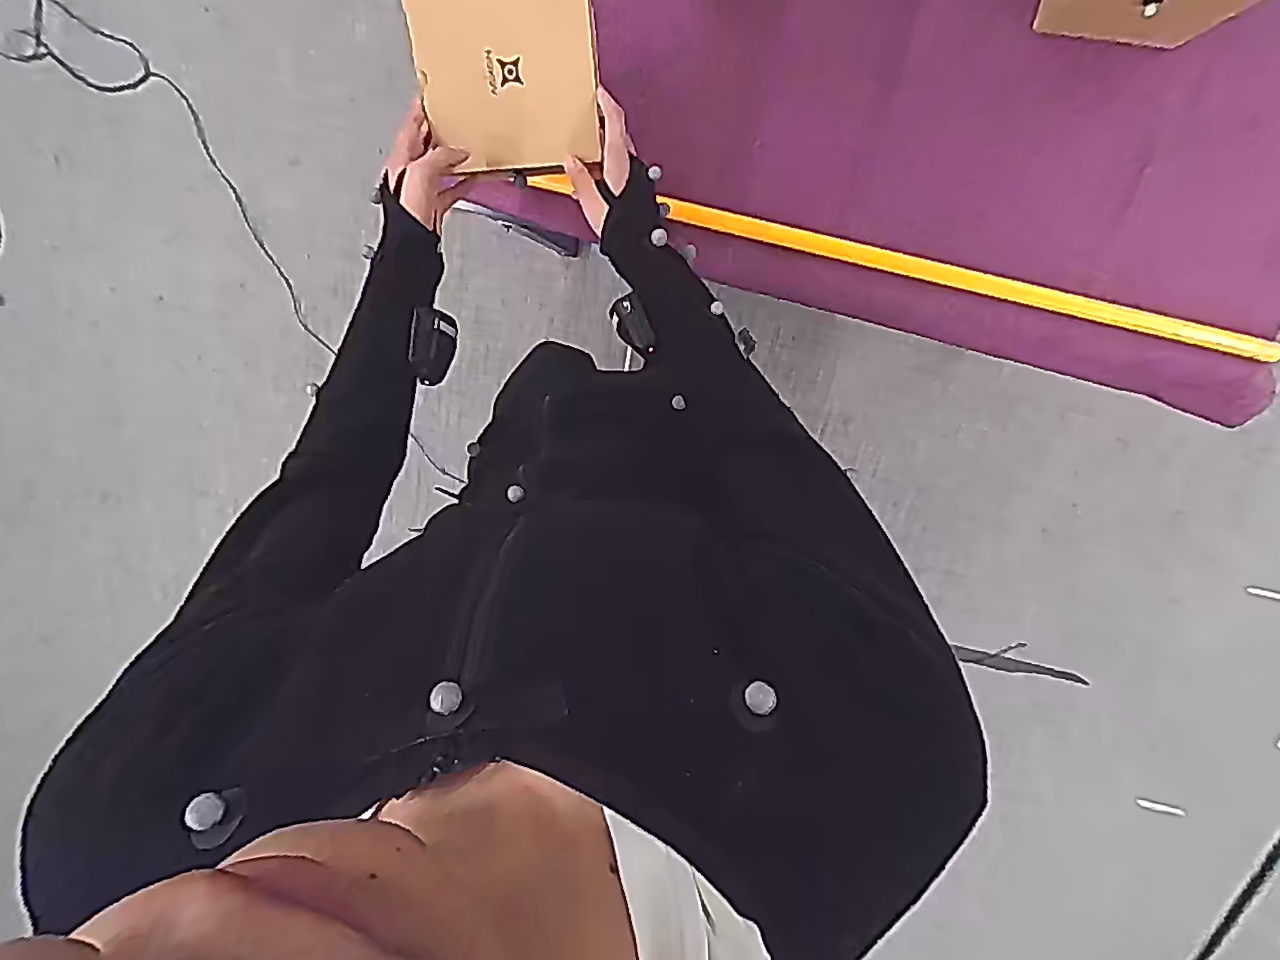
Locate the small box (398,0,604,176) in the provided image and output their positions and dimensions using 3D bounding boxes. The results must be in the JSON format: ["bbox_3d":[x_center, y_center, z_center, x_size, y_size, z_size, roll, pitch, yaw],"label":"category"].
[{"bbox_3d":[-0.132,-0.431,0.587,0.179,0.176,0.168,-3,117,2],"label":"small box"}]

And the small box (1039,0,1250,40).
[{"bbox_3d":[0.578,-0.600,0.565,0.179,0.176,0.168,10,108,4],"label":"small box"}]
